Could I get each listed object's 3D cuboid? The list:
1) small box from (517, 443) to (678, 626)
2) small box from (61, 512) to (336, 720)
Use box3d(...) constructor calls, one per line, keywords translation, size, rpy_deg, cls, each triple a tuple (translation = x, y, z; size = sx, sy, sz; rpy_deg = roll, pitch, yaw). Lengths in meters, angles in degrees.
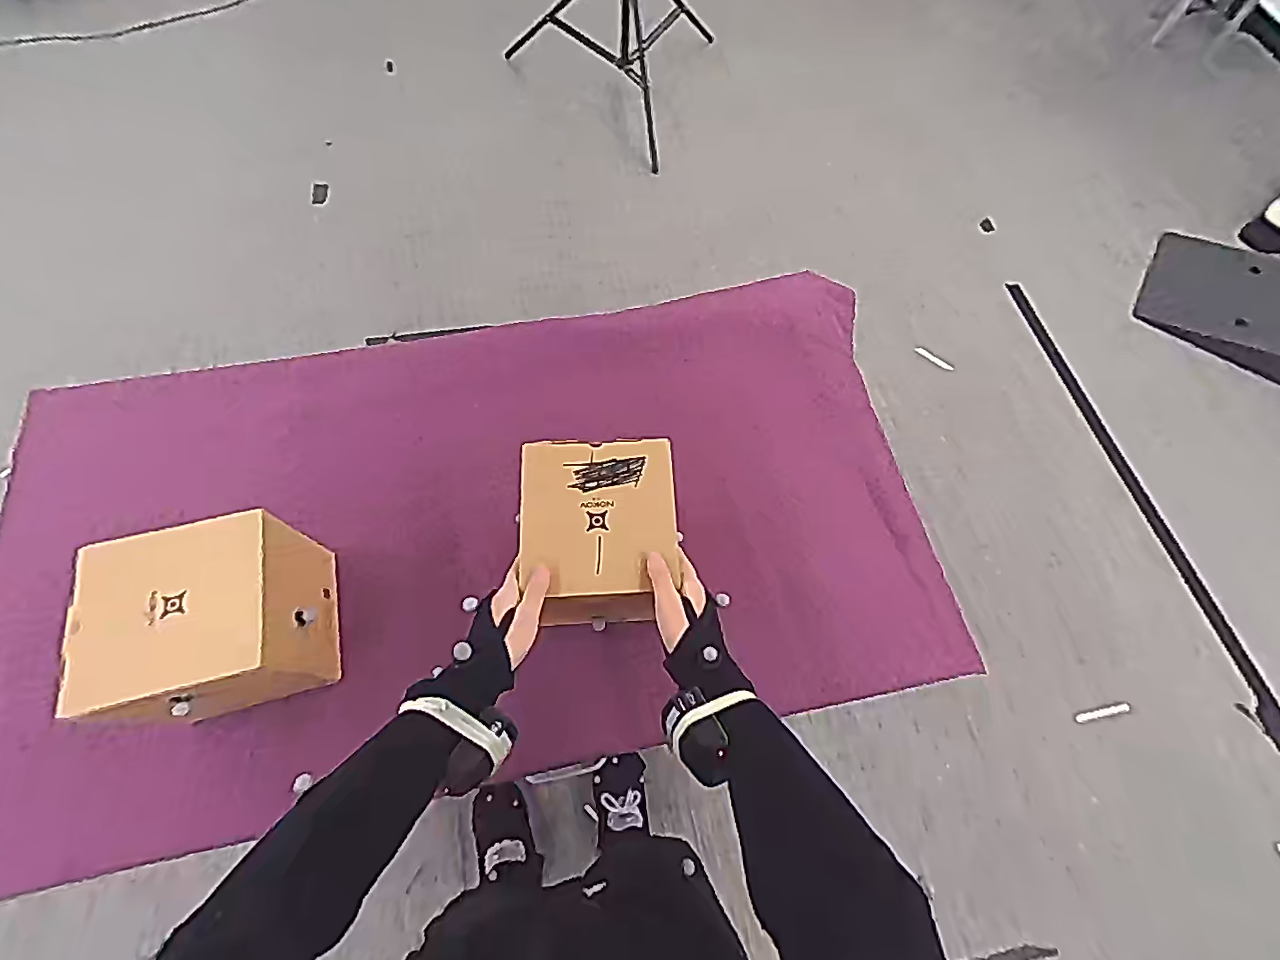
box3d(translation=(-0.049, 0.071, 0.648), size=(0.168, 0.176, 0.179), rpy_deg=(-2, 67, -3), cls="small box")
box3d(translation=(-0.458, 0.154, 0.597), size=(0.179, 0.176, 0.168), rpy_deg=(-13, 68, -8), cls="small box")
